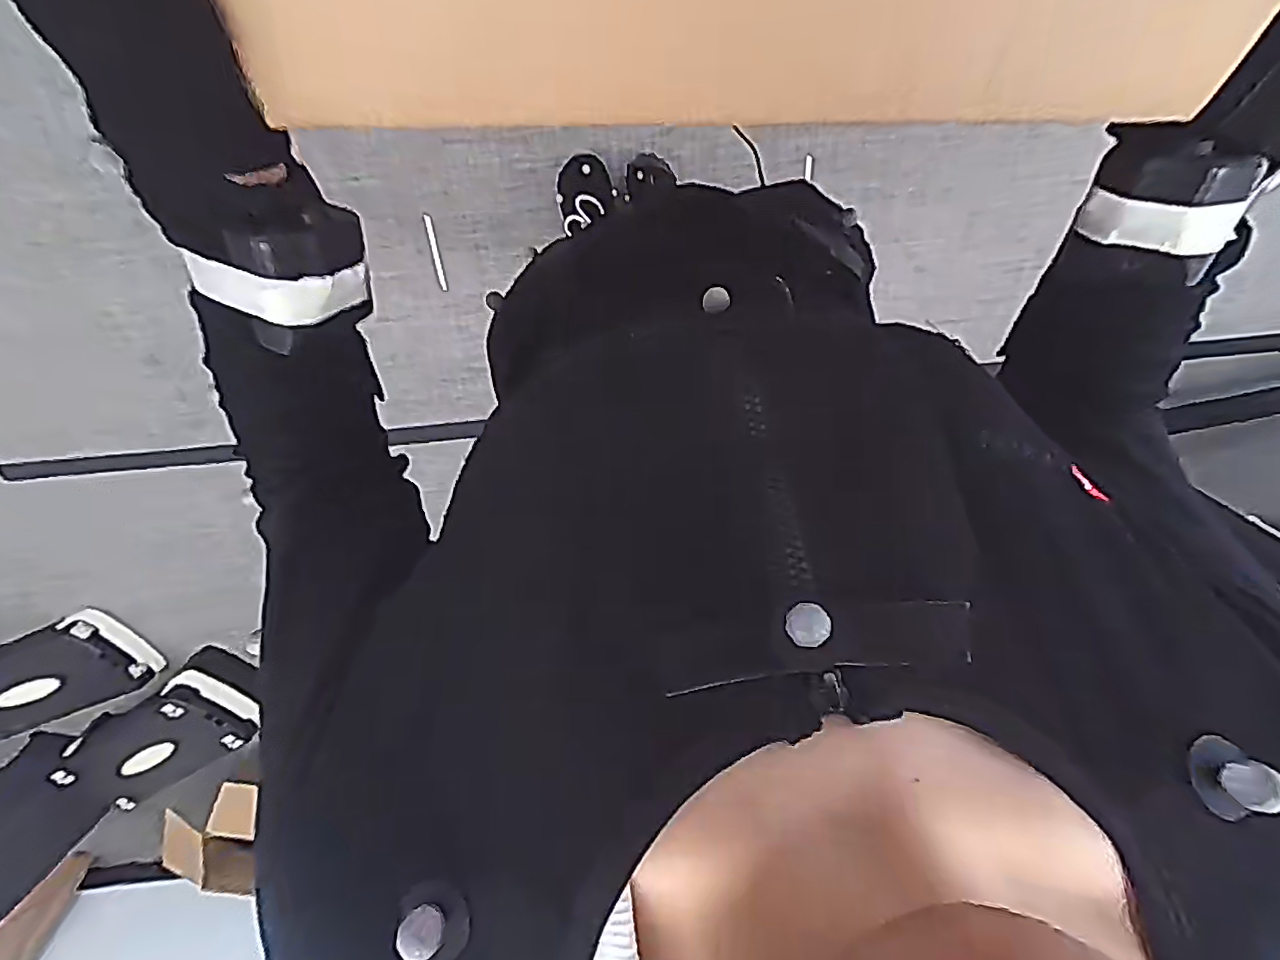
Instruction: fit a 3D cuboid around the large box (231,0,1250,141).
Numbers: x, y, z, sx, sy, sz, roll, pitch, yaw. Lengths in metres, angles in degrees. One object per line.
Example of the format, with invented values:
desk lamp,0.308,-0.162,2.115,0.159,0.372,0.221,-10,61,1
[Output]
large box,0.036,-0.370,0.212,0.408,0.320,0.320,-1,144,-1
